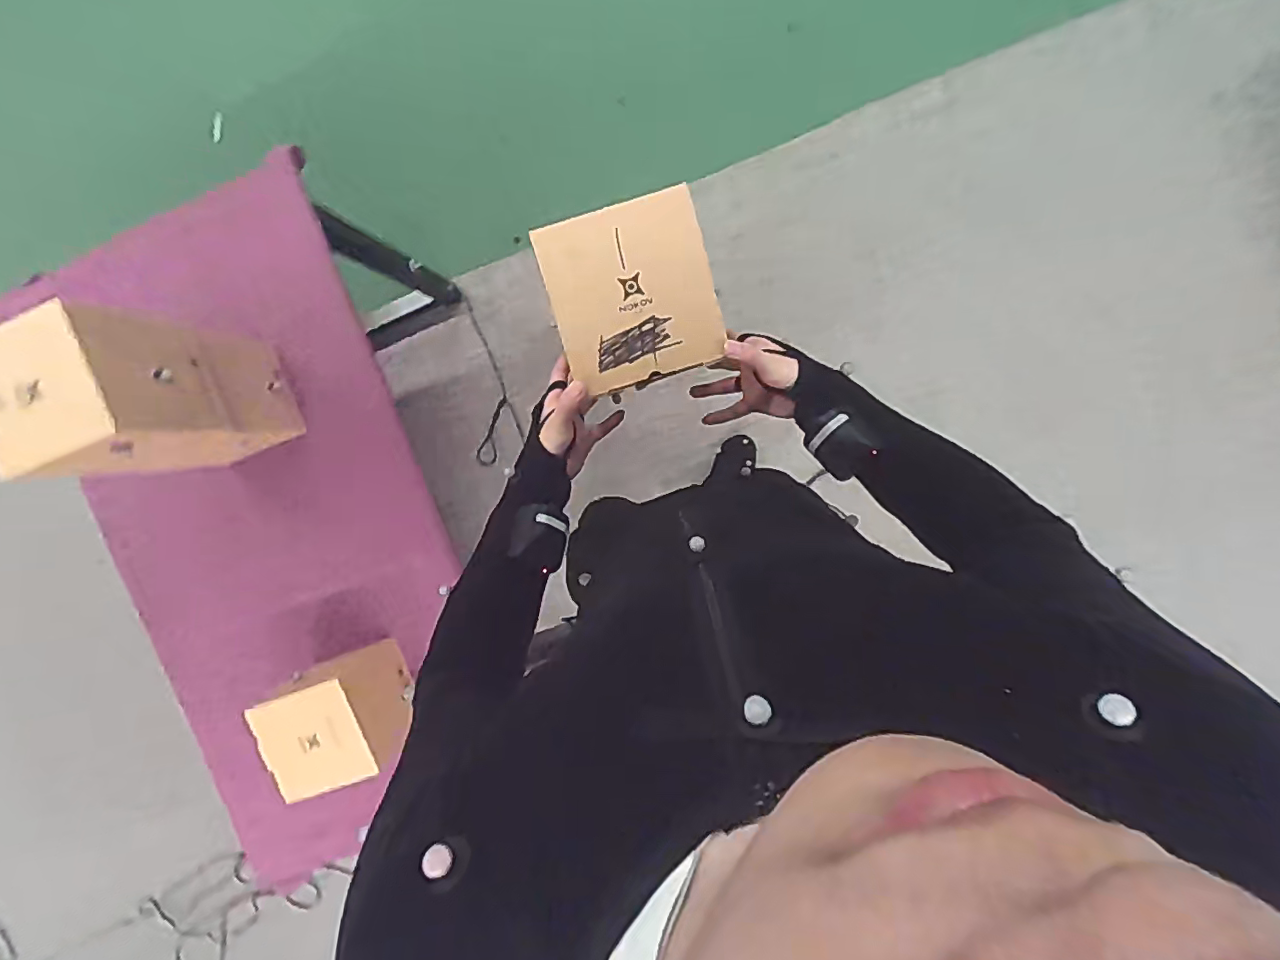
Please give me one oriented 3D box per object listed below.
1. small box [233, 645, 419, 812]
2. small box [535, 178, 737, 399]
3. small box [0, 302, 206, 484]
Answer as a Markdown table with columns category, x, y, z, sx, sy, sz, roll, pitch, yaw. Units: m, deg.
| category | x | y | z | sx | sy | sz | roll | pitch | yaw |
| --- | --- | --- | --- | --- | --- | --- | --- | --- | --- |
| small box | -0.509 | 0.402 | 0.899 | 0.179 | 0.176 | 0.168 | -21 | 94 | 6 |
| small box | -0.001 | -0.200 | 0.609 | 0.168 | 0.176 | 0.179 | -16 | 100 | 2 |
| small box | -0.714 | -0.106 | 0.696 | 0.179 | 0.176 | 0.168 | -20 | 94 | 7 |
